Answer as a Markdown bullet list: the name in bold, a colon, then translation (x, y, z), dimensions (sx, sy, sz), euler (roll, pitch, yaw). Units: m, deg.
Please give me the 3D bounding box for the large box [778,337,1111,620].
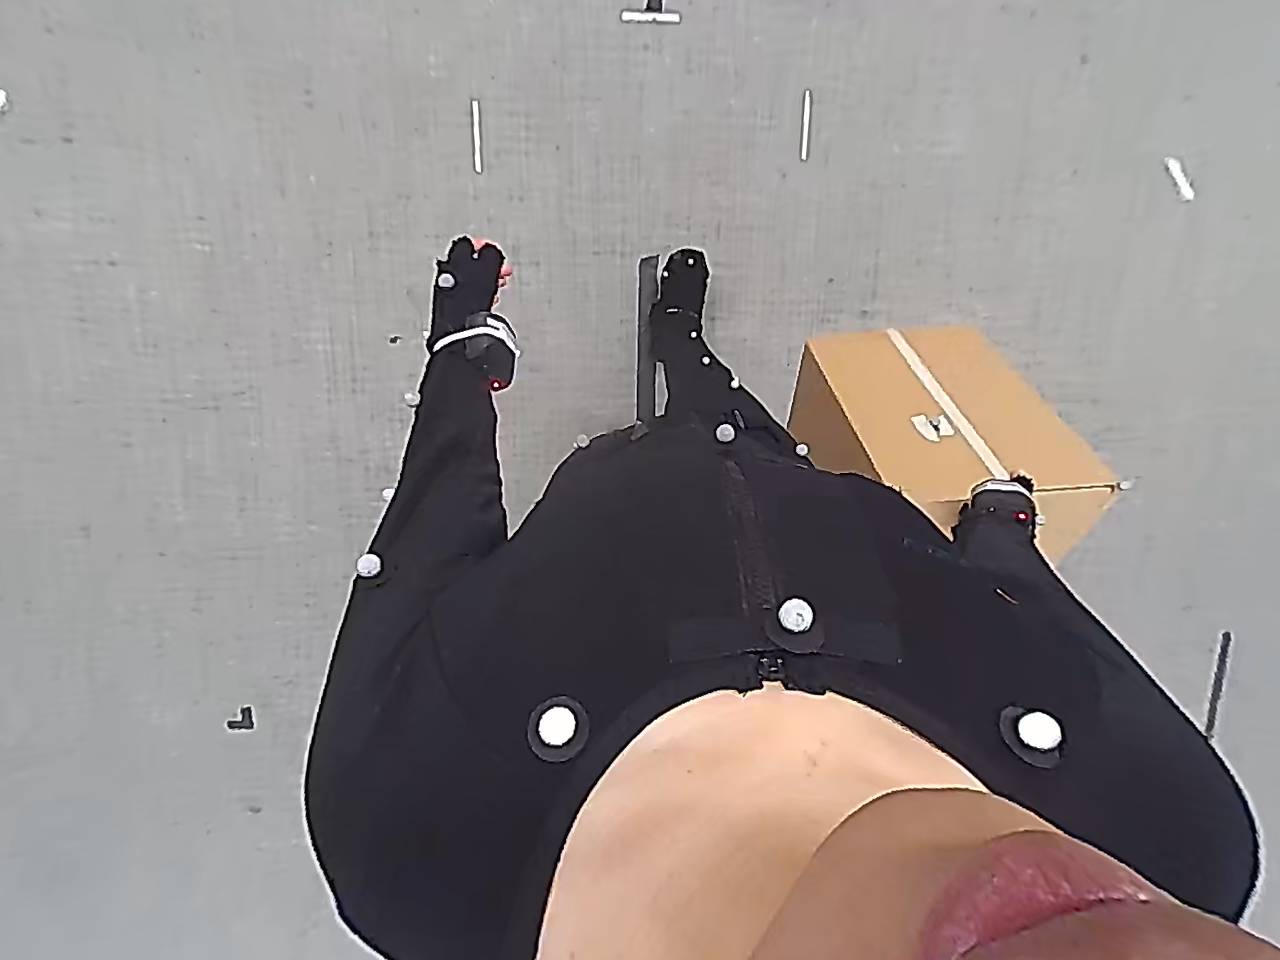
- **large box**: translation (0.474, -0.012, 0.971), dimensions (0.320, 0.408, 0.320), euler (-5, 136, -3)
